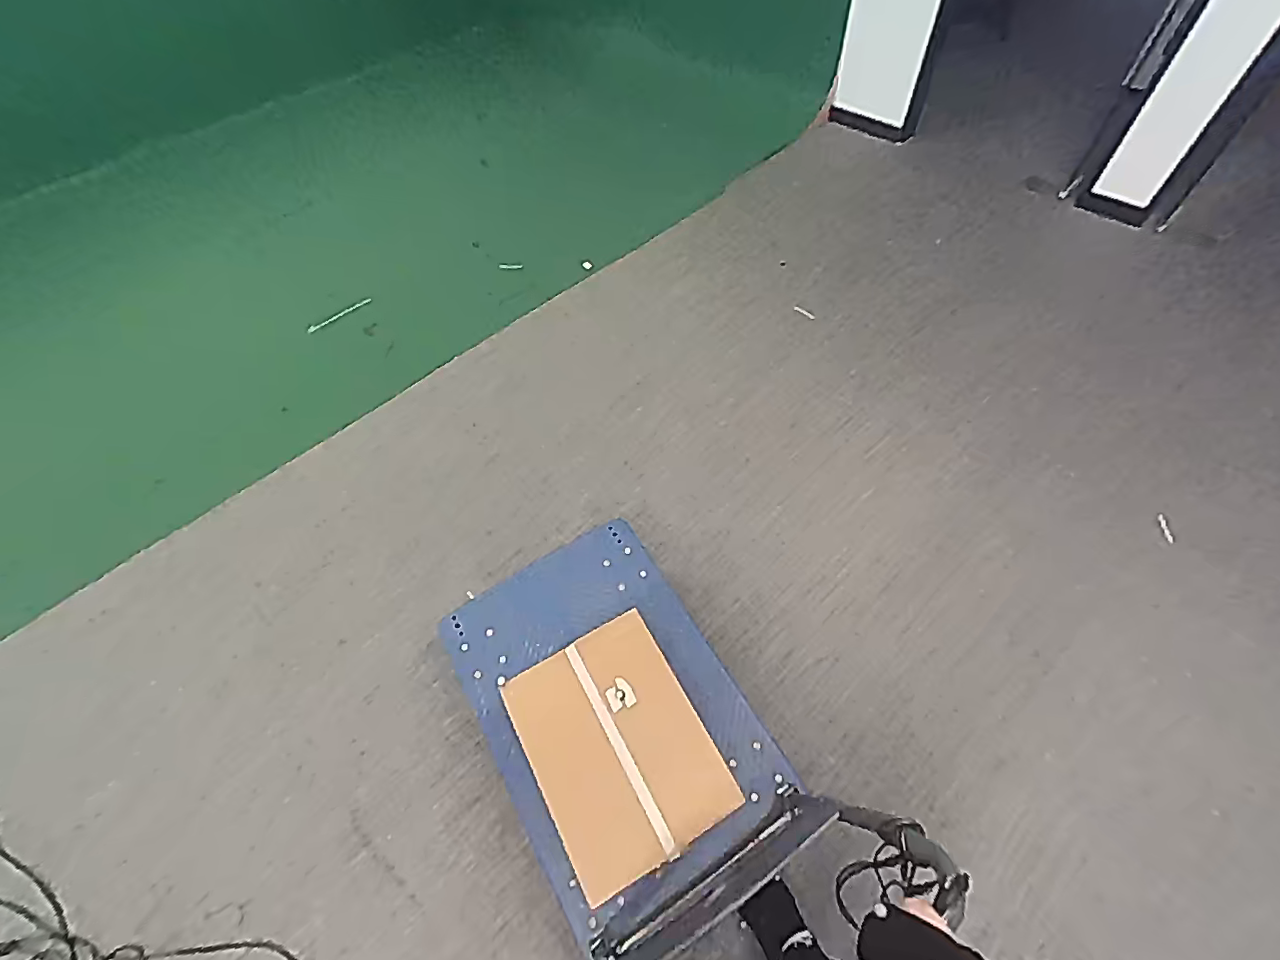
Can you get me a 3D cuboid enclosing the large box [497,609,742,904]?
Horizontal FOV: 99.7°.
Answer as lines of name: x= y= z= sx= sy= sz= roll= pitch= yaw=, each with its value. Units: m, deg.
large box: x=-0.042 y=0.551 z=1.125 sx=0.320 sy=0.320 sz=0.408 roll=-27 pitch=63 yaw=-13
